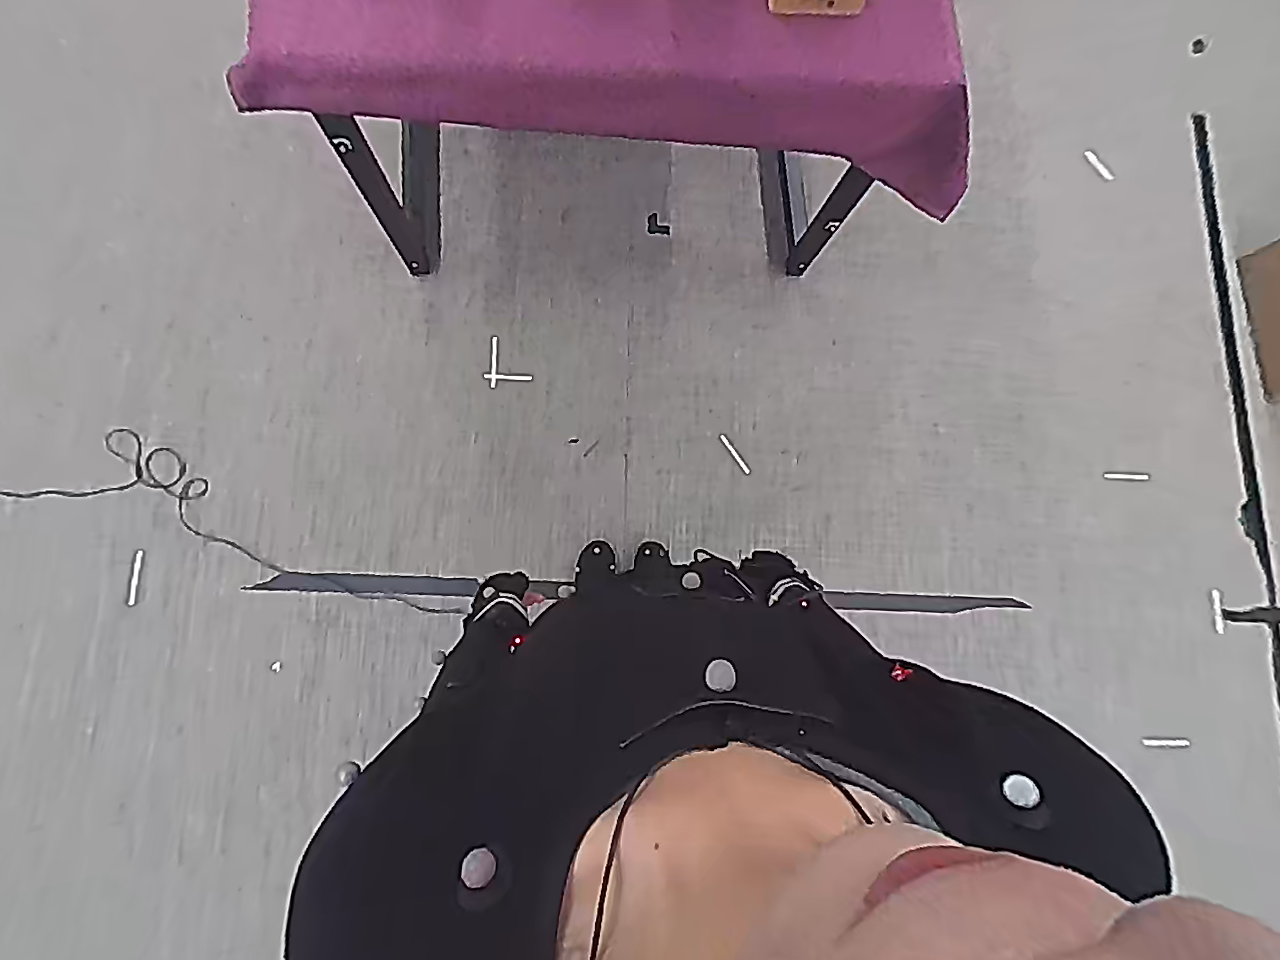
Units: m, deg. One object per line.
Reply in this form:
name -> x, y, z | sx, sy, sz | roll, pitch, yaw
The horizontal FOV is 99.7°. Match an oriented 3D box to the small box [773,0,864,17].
small box -> 0.316, -0.926, 0.895 | 0.168, 0.176, 0.179 | -3, 83, -6
